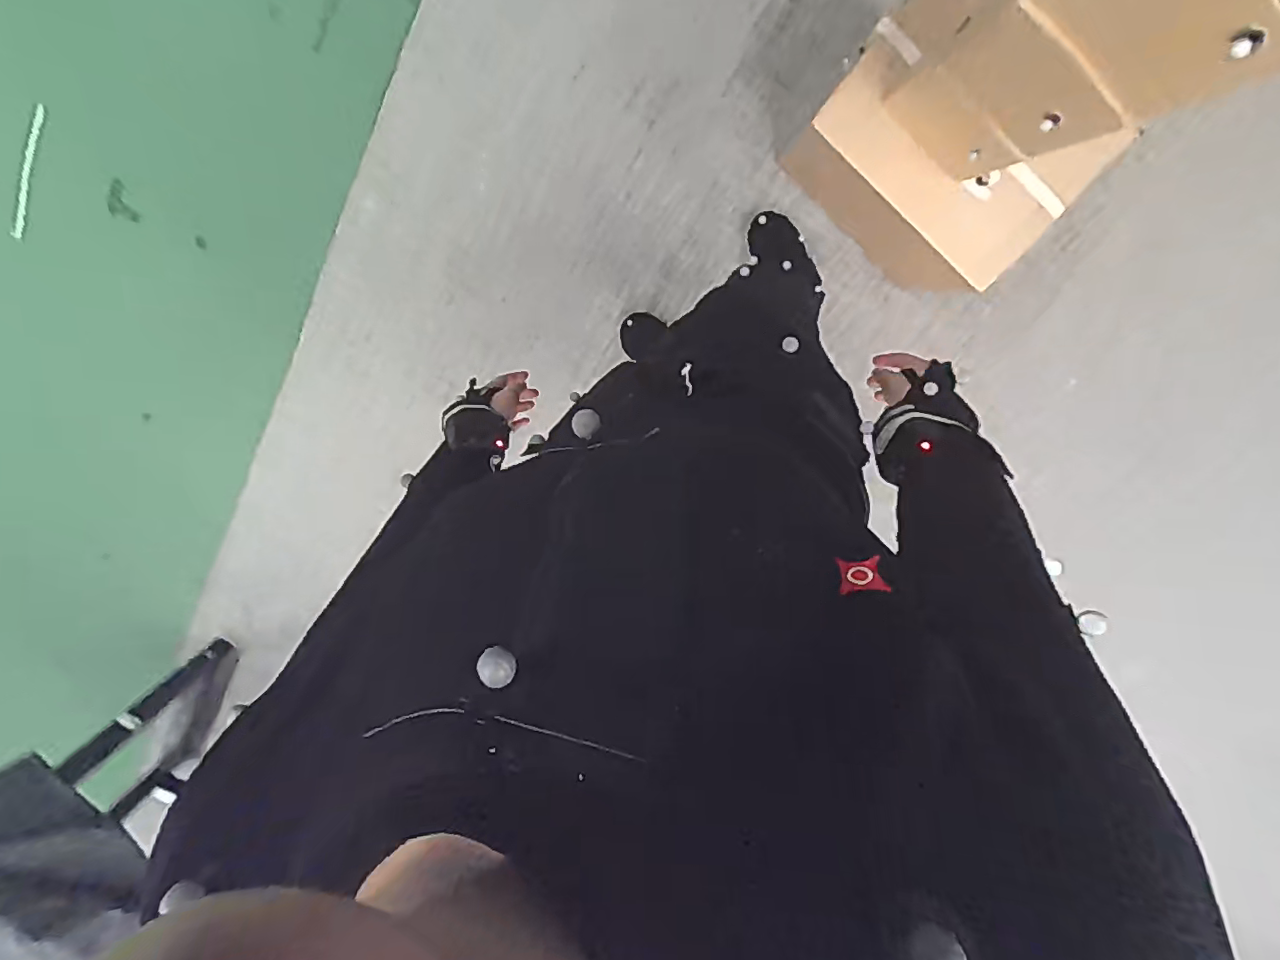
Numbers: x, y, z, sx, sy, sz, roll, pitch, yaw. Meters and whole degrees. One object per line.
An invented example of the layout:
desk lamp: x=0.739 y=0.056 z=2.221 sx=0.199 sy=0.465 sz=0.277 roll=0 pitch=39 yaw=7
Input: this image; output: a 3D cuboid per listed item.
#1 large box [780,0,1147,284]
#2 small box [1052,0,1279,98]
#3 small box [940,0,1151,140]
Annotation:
large box: x=0.523 y=-0.604 z=0.963 sx=0.408 sy=0.320 sz=0.320 roll=37 pitch=109 yaw=-11
small box: x=0.471 y=-0.445 z=0.417 sx=0.179 sy=0.176 sz=0.168 roll=37 pitch=107 yaw=-11
small box: x=0.470 y=-0.496 z=0.572 sx=0.179 sy=0.176 sz=0.168 roll=34 pitch=108 yaw=-9
